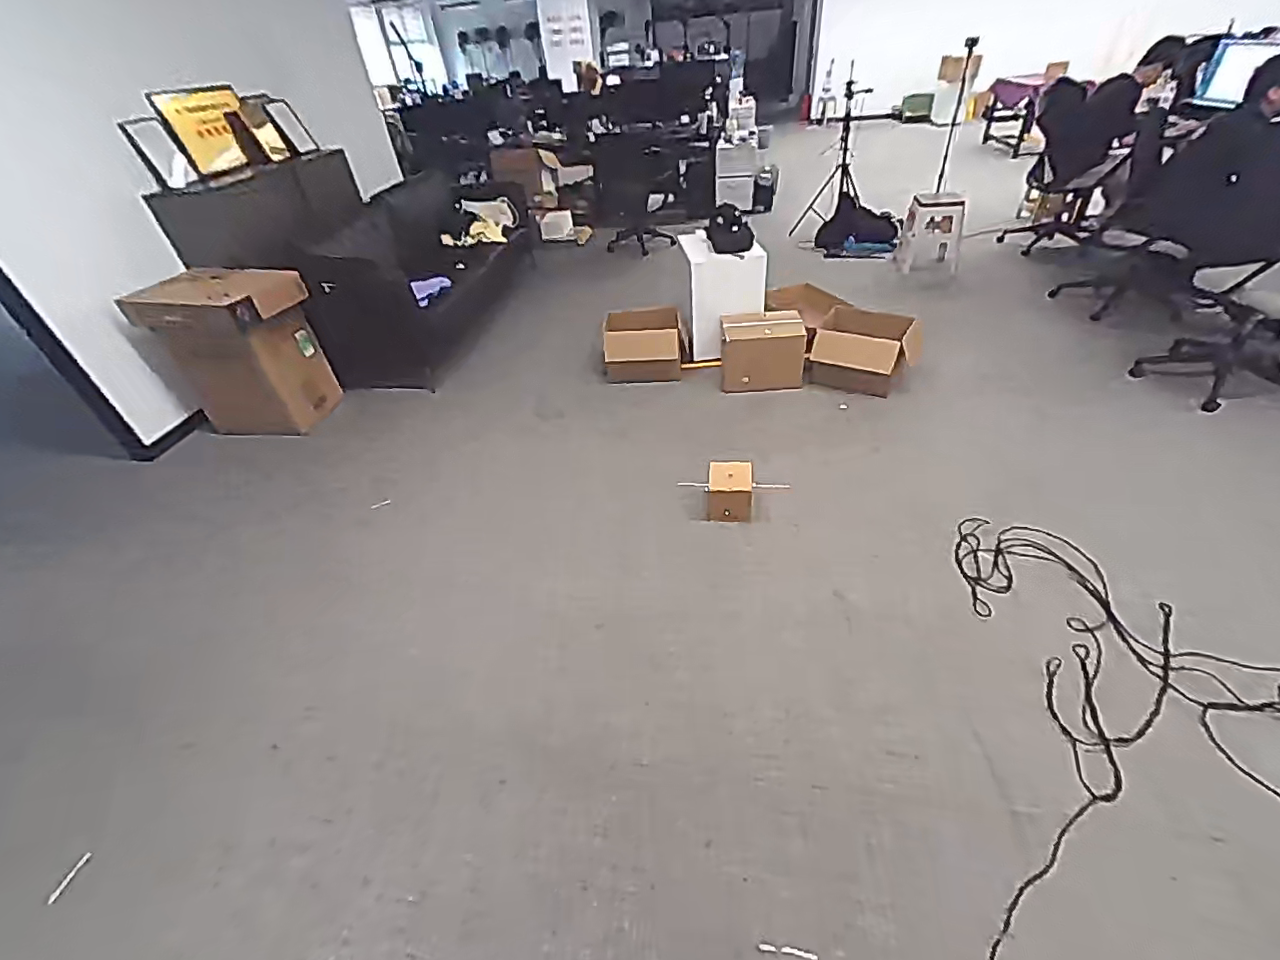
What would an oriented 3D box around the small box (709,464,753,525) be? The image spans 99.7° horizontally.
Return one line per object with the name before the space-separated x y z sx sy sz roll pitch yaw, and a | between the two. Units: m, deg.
small box | 0.362 0.057 2.152 0.168 0.176 0.179 0 40 9
